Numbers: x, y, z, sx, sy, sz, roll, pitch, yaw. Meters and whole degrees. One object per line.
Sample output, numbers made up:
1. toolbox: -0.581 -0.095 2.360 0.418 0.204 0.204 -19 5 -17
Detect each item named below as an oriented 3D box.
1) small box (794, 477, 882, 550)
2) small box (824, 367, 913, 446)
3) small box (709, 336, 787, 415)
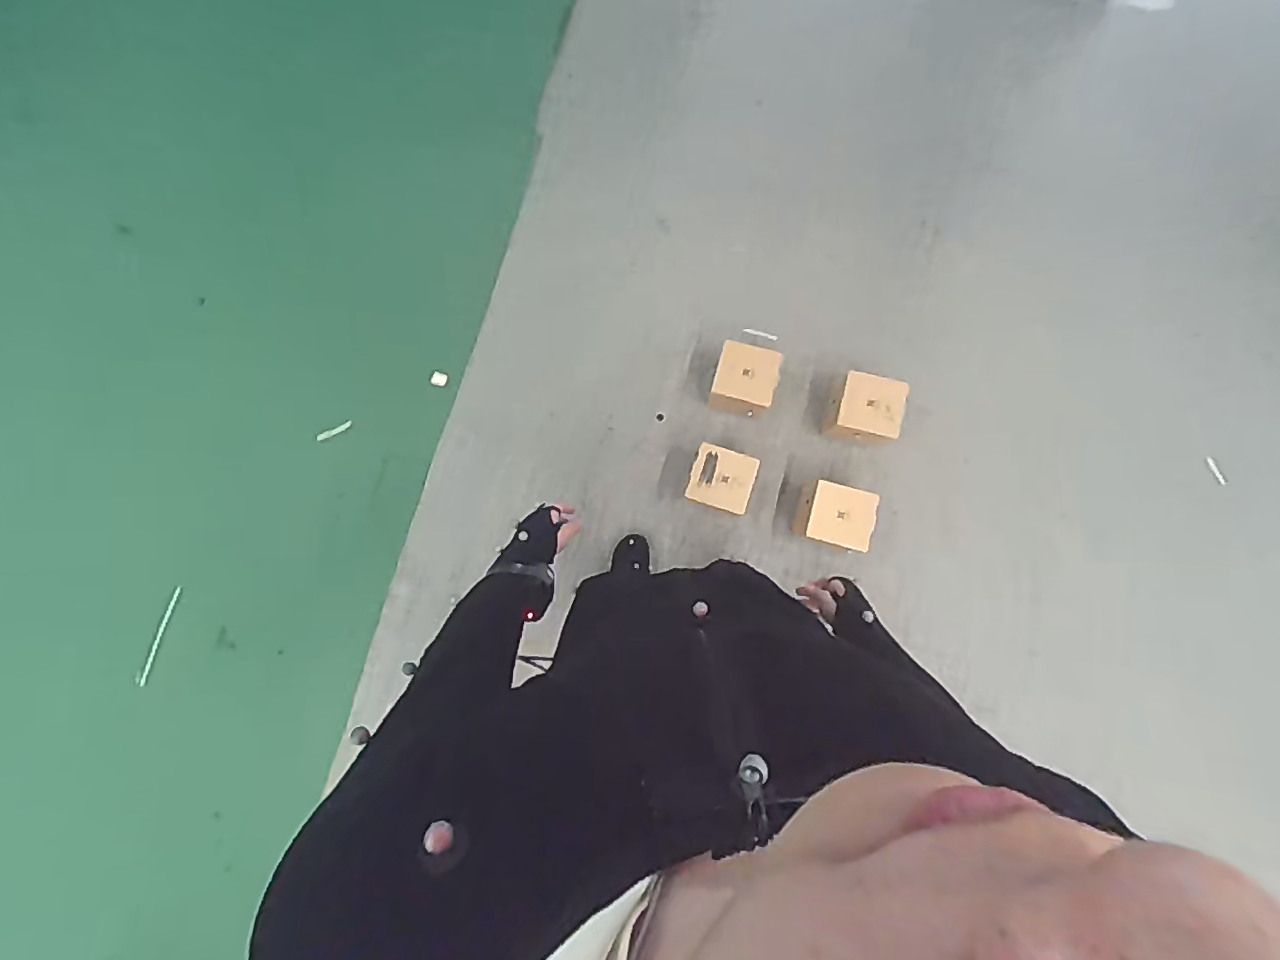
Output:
1. small box: 0.559 0.101 1.549 0.179 0.176 0.168 15 84 3
2. small box: 0.657 -0.207 1.578 0.179 0.176 0.168 16 85 3
3. small box: 0.313 -0.302 1.604 0.179 0.176 0.168 17 83 4
